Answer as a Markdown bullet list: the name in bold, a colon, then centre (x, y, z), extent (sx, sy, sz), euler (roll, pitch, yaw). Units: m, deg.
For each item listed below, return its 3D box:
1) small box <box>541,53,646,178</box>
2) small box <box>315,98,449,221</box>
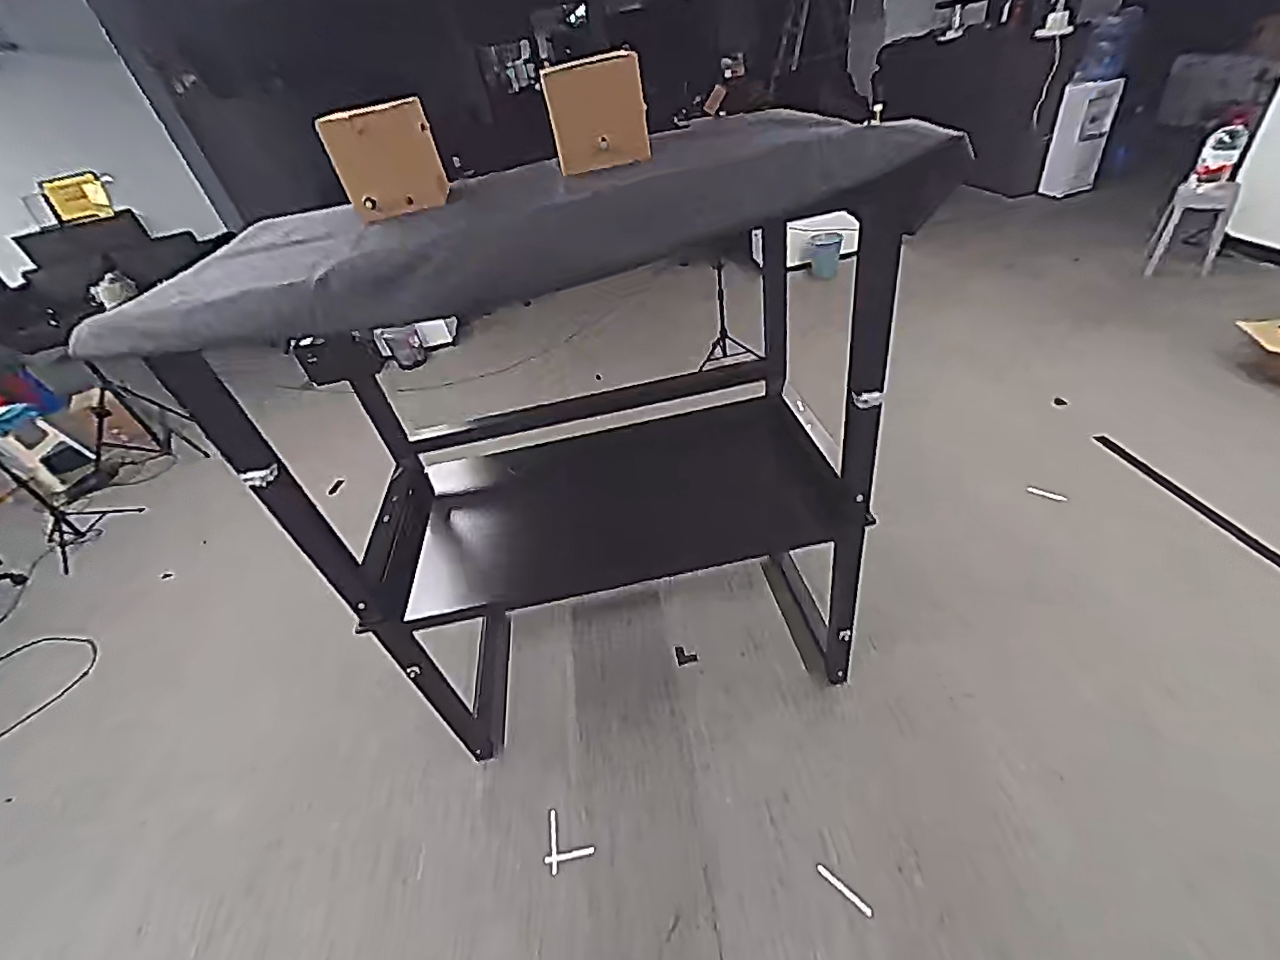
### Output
- **small box**: centre (-0.088, -0.713, 1.058), extent (0.179, 0.176, 0.168), euler (-12, 39, -1)
- **small box**: centre (-0.485, -0.617, 1.047), extent (0.168, 0.176, 0.179), euler (-15, 39, -3)
